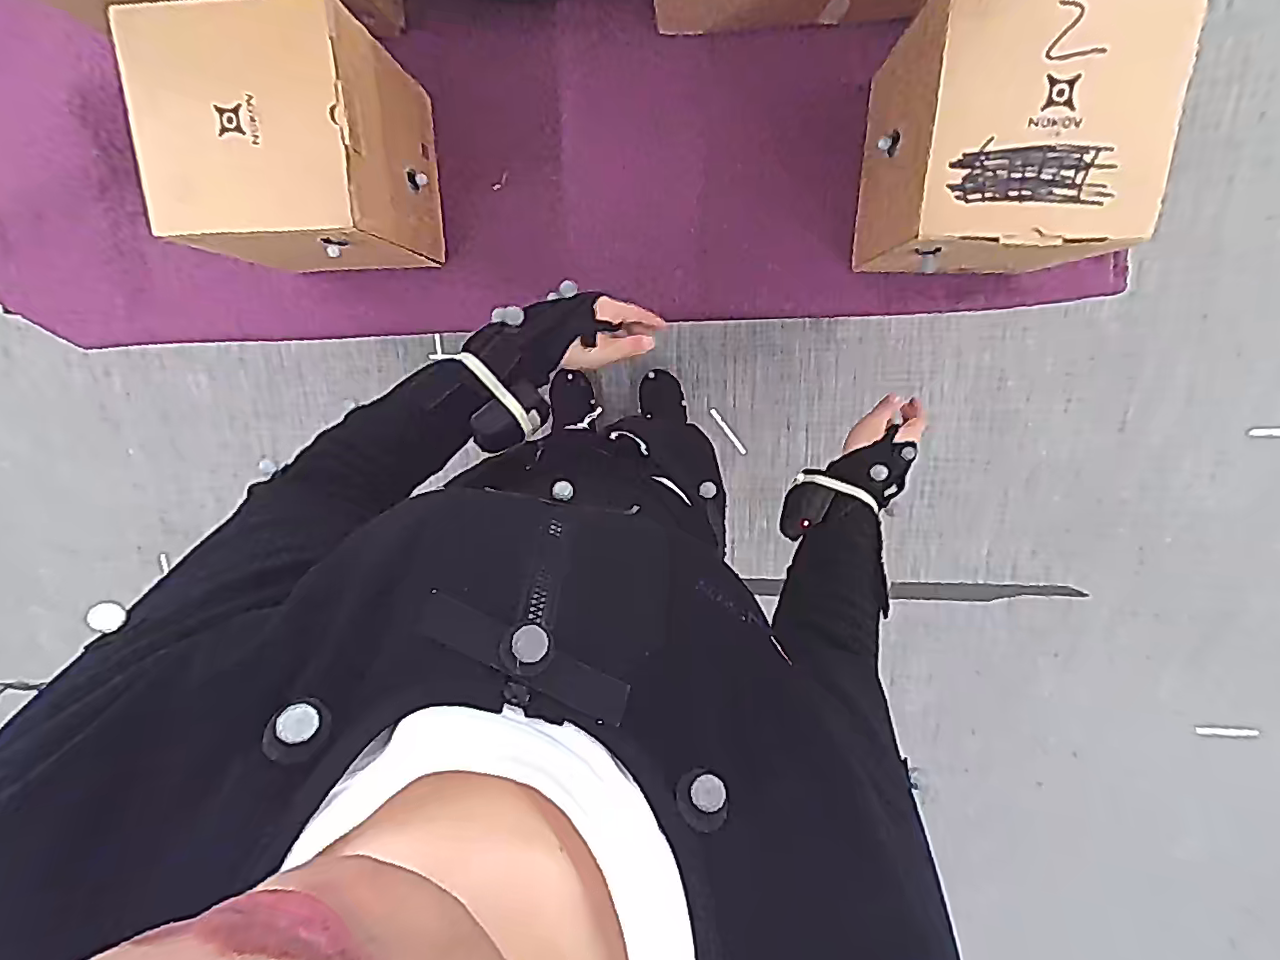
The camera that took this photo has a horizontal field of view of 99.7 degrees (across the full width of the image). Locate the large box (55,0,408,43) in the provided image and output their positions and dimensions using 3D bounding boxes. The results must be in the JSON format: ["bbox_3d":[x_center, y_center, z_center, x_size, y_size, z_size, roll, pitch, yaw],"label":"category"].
[{"bbox_3d":[-0.393,-0.606,0.364,0.320,0.320,0.408,1,106,4],"label":"large box"}]
